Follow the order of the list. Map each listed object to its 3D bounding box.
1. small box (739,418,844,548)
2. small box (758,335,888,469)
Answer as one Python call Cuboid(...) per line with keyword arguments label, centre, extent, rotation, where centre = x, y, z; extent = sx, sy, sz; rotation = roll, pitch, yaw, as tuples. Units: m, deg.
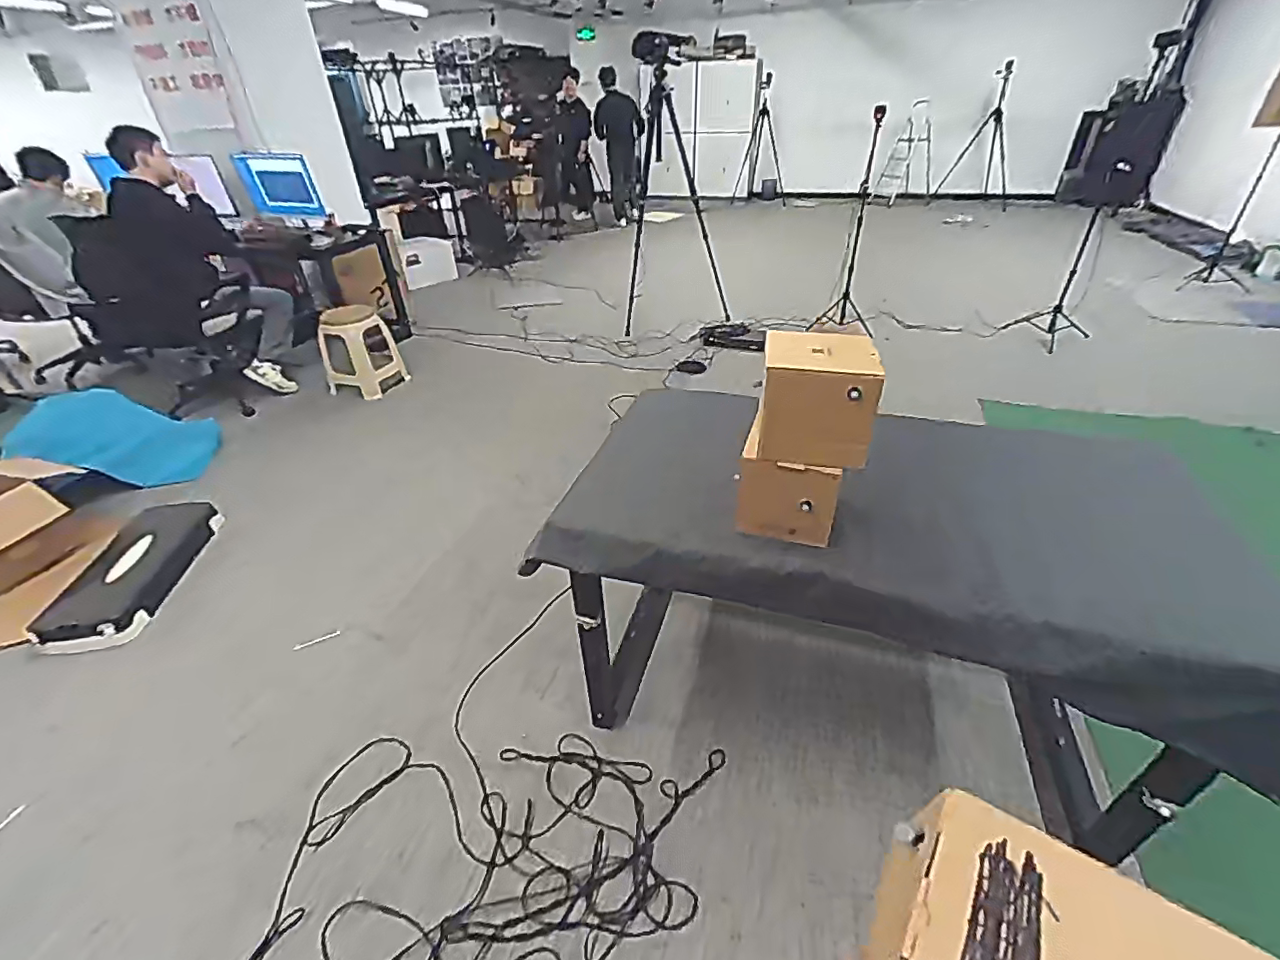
Cuboid(label="small box", centre=(0.281, 0.001, 0.999), extent=(0.168, 0.176, 0.179), rotation=(11, 35, 16))
Cuboid(label="small box", centre=(0.294, -0.132, 0.906), extent=(0.179, 0.176, 0.168), rotation=(6, 35, 10))
